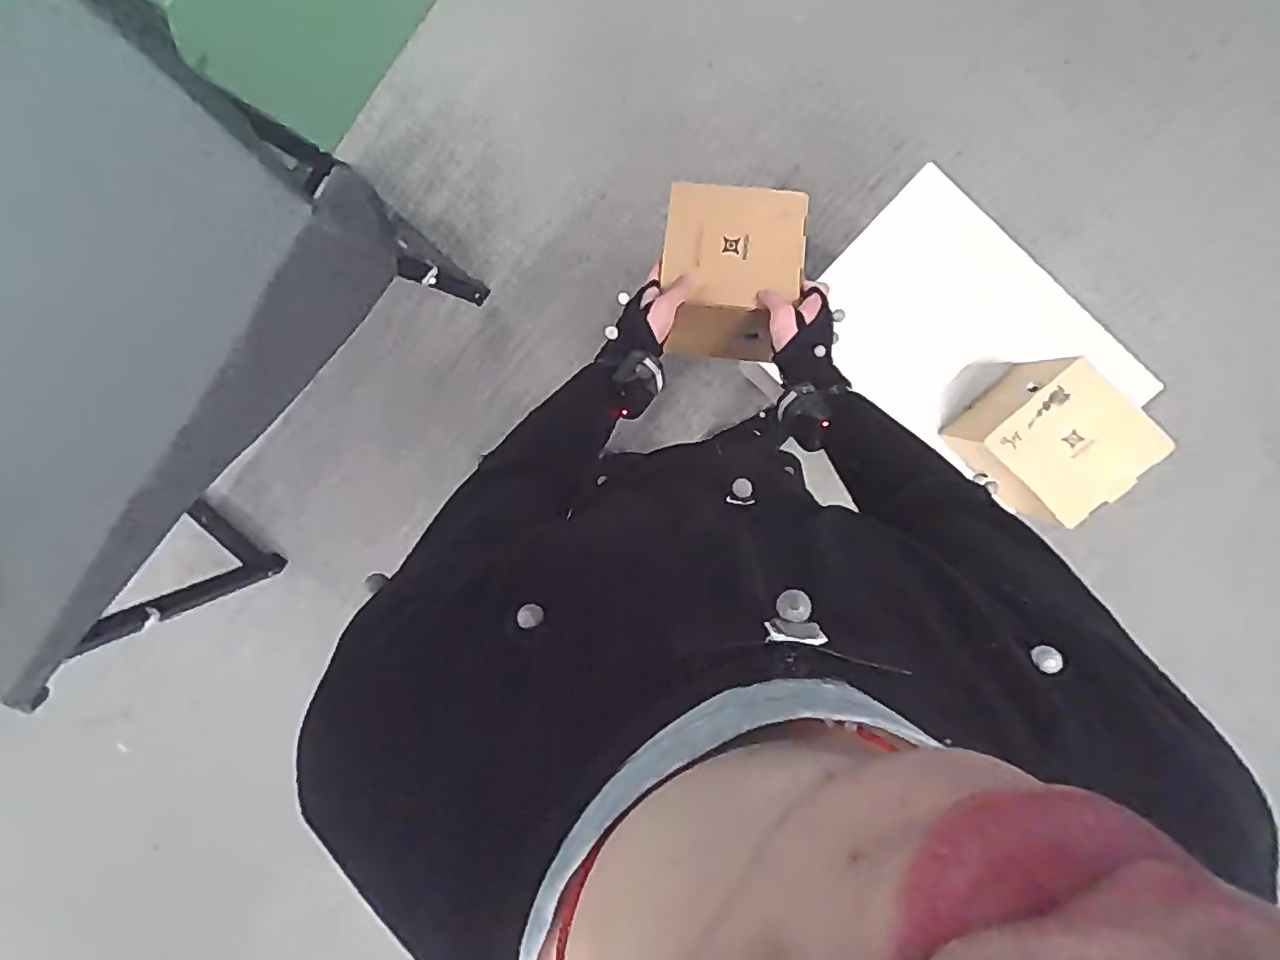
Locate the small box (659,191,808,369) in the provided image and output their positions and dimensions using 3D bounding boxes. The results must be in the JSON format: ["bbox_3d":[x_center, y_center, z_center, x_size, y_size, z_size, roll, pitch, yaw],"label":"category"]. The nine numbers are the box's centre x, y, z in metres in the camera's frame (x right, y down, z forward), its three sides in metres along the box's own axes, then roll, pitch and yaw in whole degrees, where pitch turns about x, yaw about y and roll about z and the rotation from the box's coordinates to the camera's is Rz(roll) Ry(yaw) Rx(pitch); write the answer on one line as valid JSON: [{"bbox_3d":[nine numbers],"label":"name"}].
[{"bbox_3d":[0.118,-0.261,0.737,0.179,0.176,0.168,3,79,3],"label":"small box"}]

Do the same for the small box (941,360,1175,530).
[{"bbox_3d":[0.600,-0.057,0.803,0.179,0.176,0.168,44,100,-2],"label":"small box"}]
